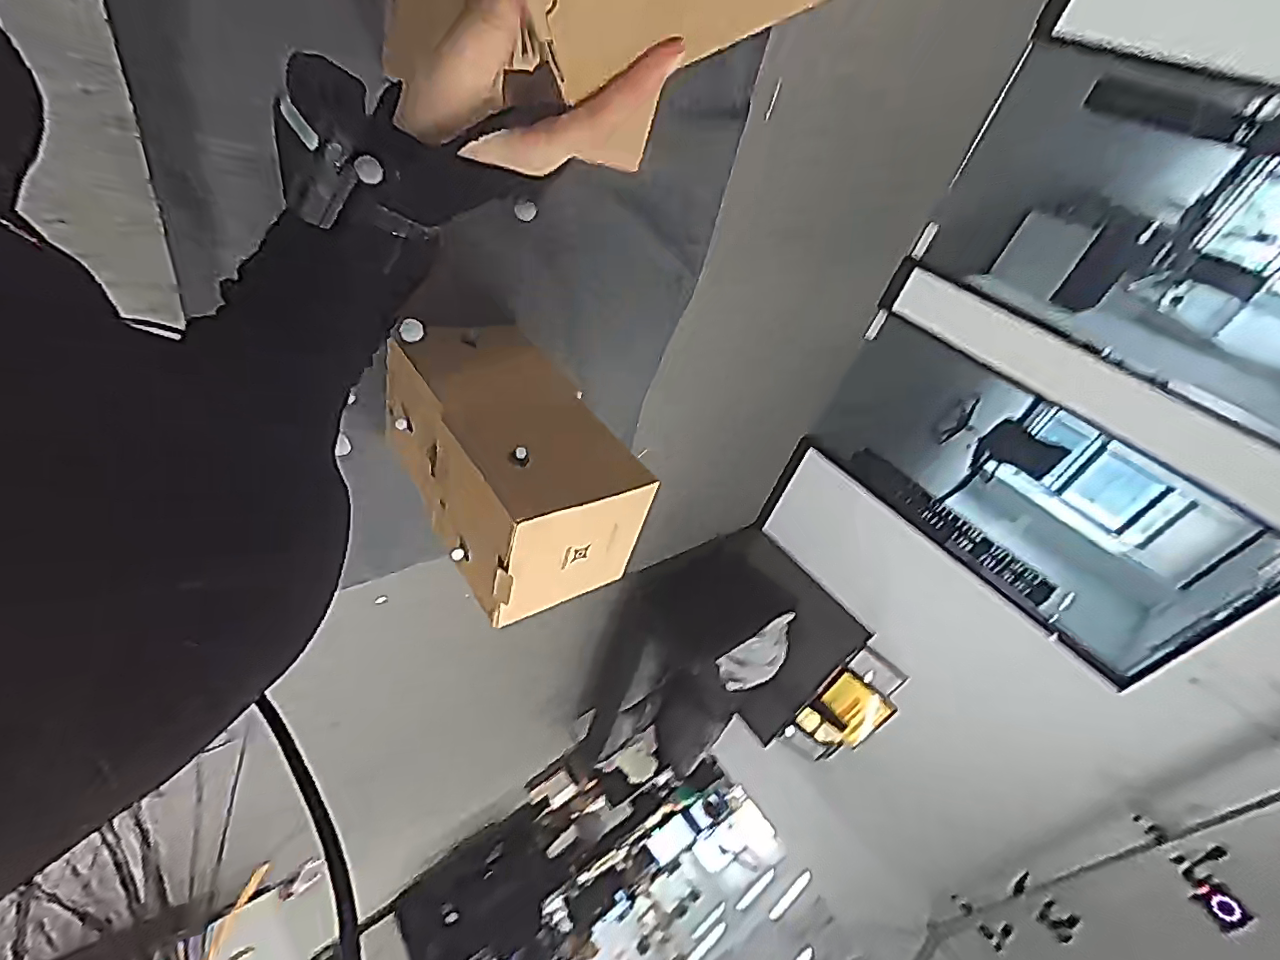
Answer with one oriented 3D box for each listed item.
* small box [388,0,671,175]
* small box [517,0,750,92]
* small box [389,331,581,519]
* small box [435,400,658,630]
[{"bbox_3d":[-0.092,-0.385,0.452,0.179,0.176,0.168,-15,140,-41],"label":"small box"},{"bbox_3d":[0.009,-0.256,0.132,0.179,0.176,0.168,-23,-168,7],"label":"small box"},{"bbox_3d":[-0.207,-0.078,0.693,0.179,0.176,0.168,-15,139,-39],"label":"small box"},{"bbox_3d":[-0.115,0.029,0.611,0.179,0.176,0.168,-17,141,-39],"label":"small box"}]
